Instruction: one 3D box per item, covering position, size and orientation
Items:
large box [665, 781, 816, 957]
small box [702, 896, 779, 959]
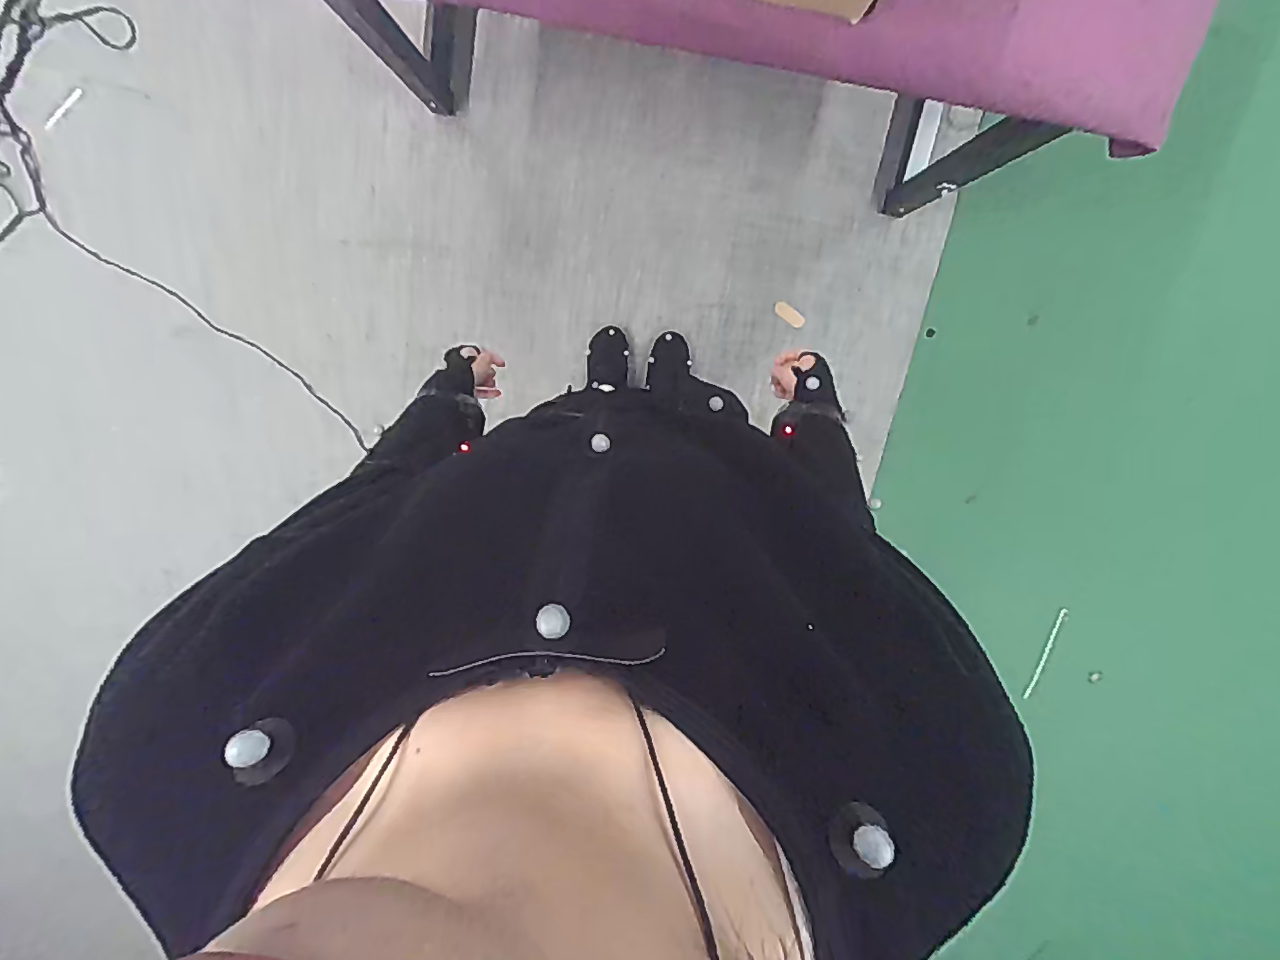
[{"bbox_3d":[0.294,1.180,1.665,0.408,0.320,0.320,-4,105,1],"label":"large box"},{"bbox_3d":[0.260,1.242,1.428,0.179,0.176,0.168,0,102,2],"label":"small box"}]
